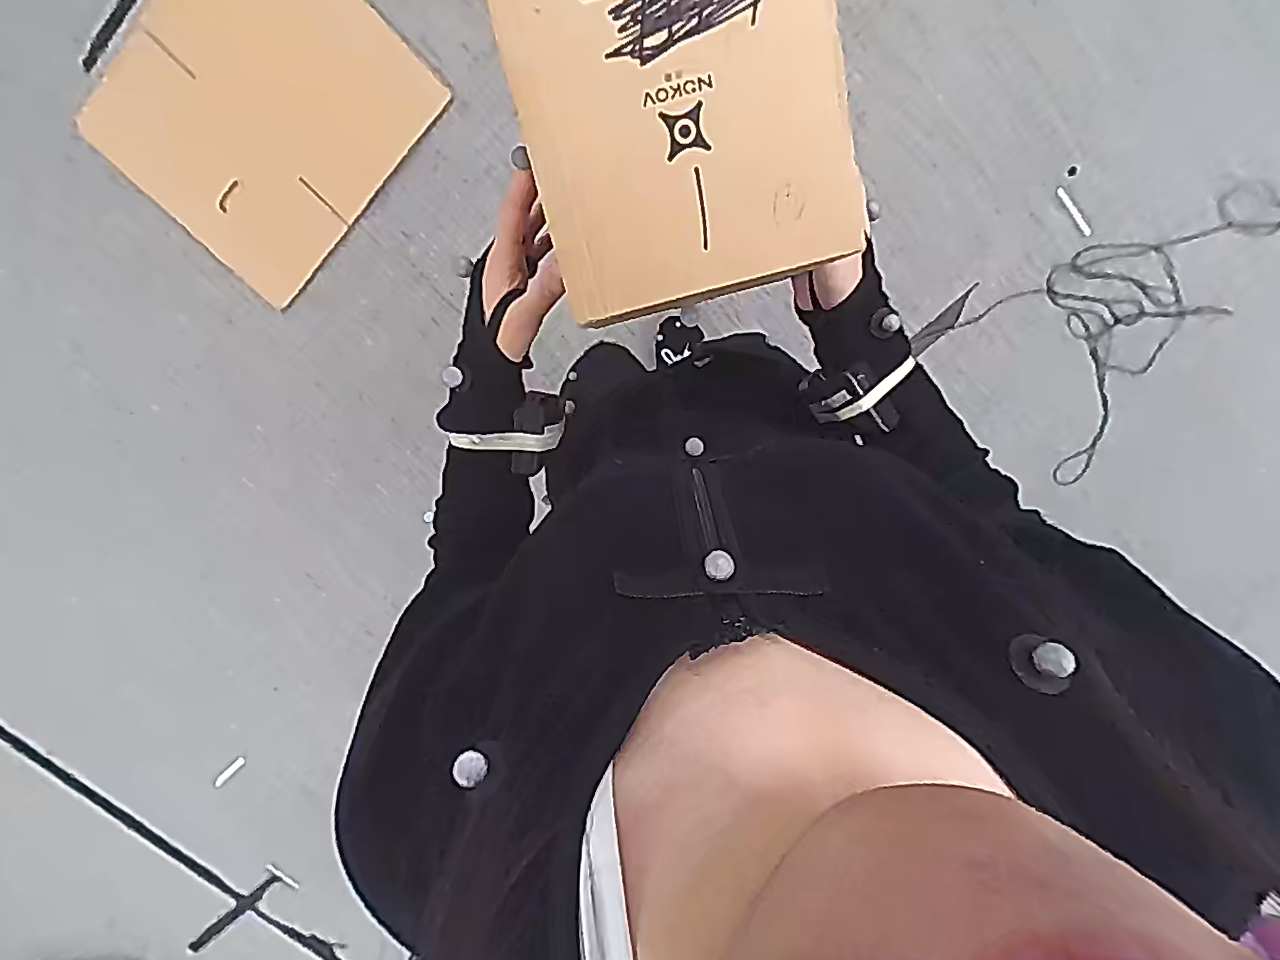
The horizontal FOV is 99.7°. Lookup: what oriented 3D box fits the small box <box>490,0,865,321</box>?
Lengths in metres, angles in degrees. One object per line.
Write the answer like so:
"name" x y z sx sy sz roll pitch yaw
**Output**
"small box" 0.020 -0.210 0.349 0.168 0.176 0.179 -14 105 4
